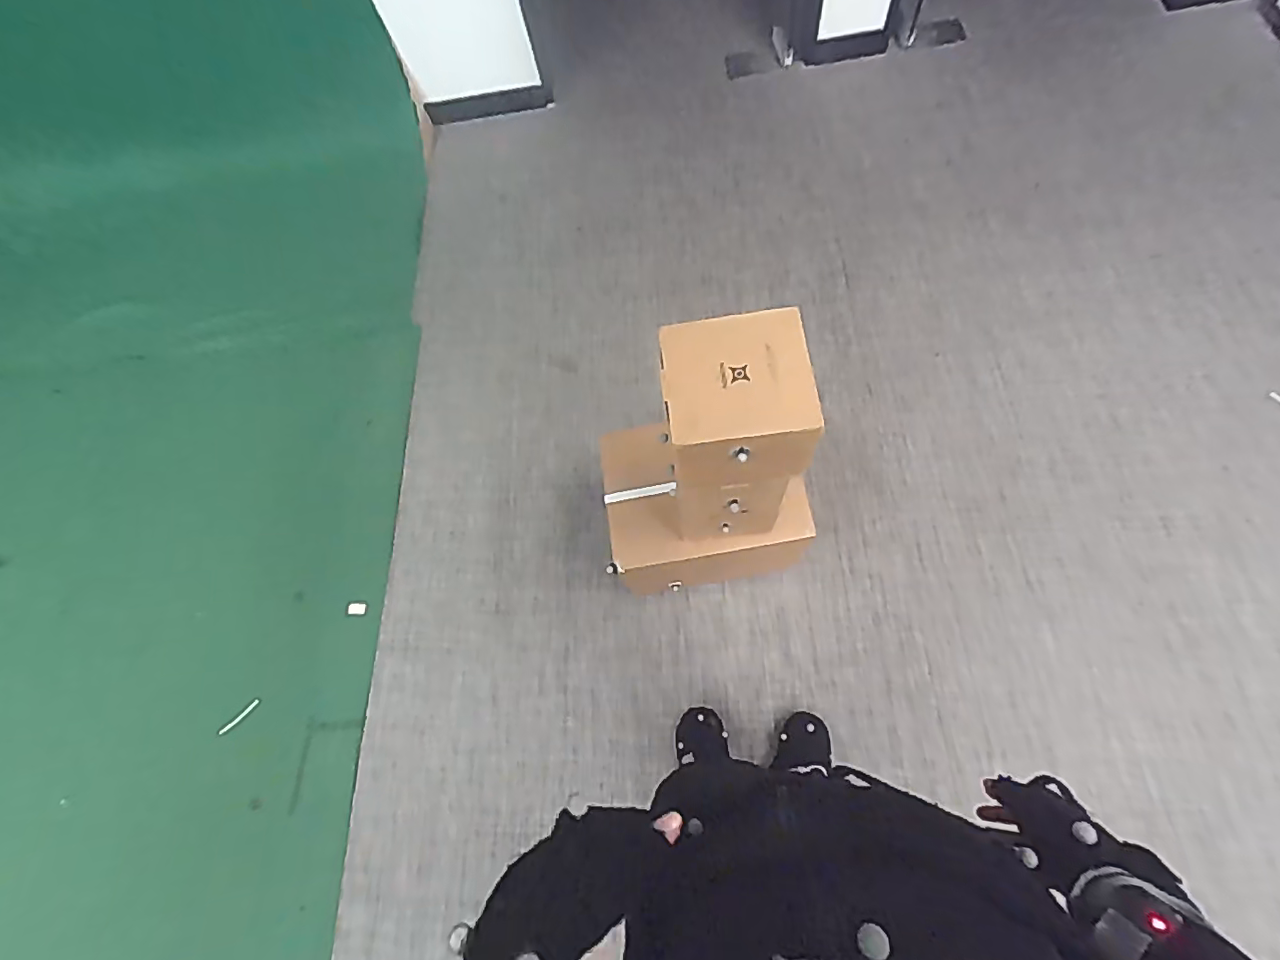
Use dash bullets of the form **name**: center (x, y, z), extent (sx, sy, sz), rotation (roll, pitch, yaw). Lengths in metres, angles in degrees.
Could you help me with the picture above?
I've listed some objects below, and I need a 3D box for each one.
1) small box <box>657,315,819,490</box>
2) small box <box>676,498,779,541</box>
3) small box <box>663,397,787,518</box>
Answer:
- **small box**: center (0.124, -0.093, 0.727), extent (0.179, 0.176, 0.168), rotation (-7, 70, 4)
- **small box**: center (0.157, 0.014, 1.033), extent (0.179, 0.176, 0.168), rotation (-6, 69, 6)
- **small box**: center (0.135, -0.042, 0.882), extent (0.168, 0.176, 0.179), rotation (-8, 69, 4)
